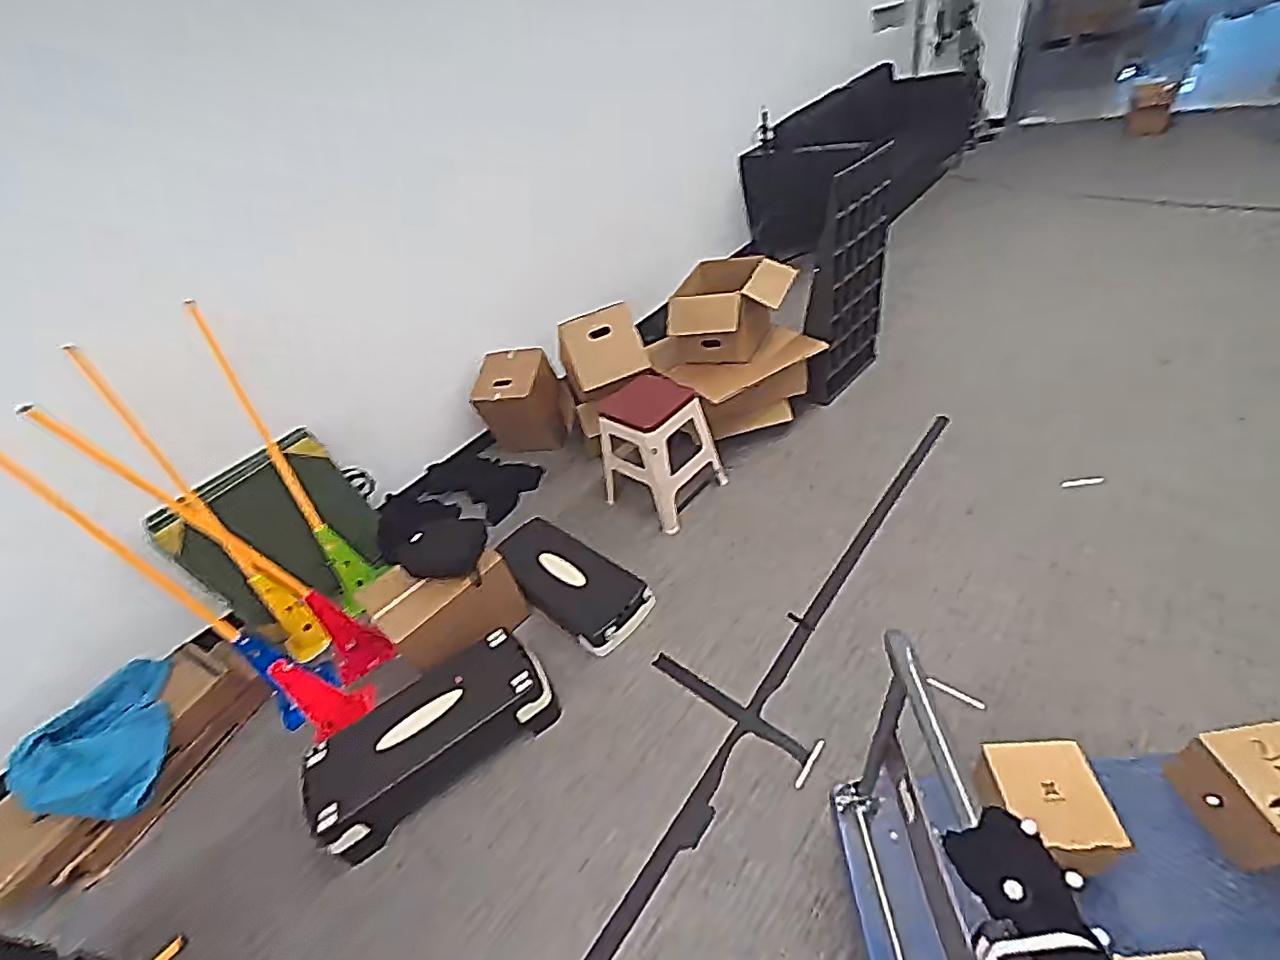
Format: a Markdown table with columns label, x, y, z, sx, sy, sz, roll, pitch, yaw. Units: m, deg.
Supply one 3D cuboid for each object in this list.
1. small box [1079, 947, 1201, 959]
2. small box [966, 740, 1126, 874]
| label | x | y | z | sx | sy | sz | roll | pitch | yaw |
| --- | --- | --- | --- | --- | --- | --- | --- | --- | --- |
| small box | 0.752 | 0.816 | 0.784 | 0.168 | 0.176 | 0.179 | -11 | 39 | 6 |
| small box | 0.747 | 0.618 | 1.024 | 0.168 | 0.176 | 0.179 | -7 | 42 | 9 |
